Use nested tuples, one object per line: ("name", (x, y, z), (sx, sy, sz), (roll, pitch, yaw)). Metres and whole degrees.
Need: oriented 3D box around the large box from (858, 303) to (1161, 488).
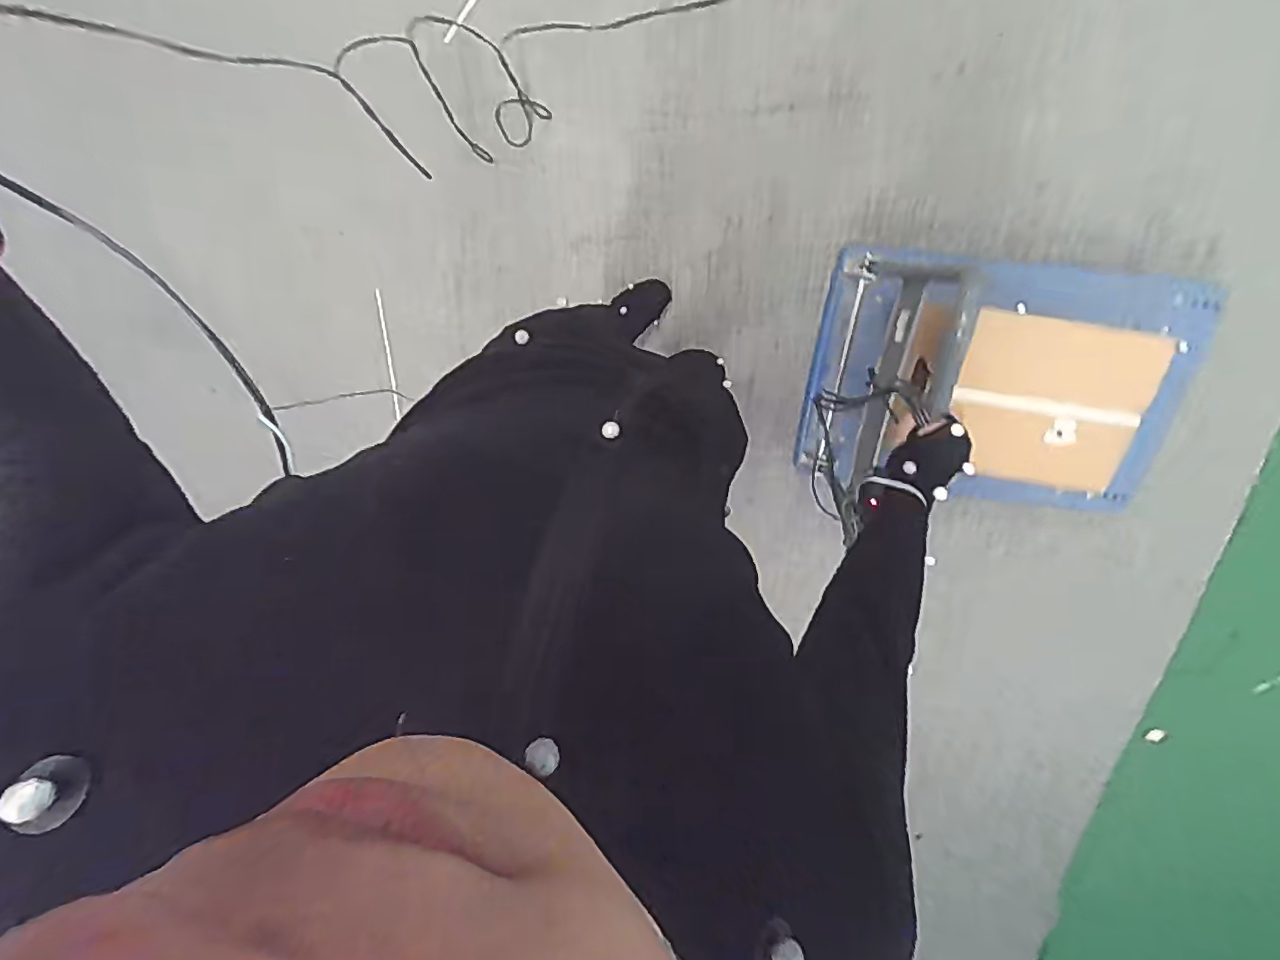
("large box", (0.760, -0.204, 1.195), (0.408, 0.320, 0.320), (9, 112, 0))
